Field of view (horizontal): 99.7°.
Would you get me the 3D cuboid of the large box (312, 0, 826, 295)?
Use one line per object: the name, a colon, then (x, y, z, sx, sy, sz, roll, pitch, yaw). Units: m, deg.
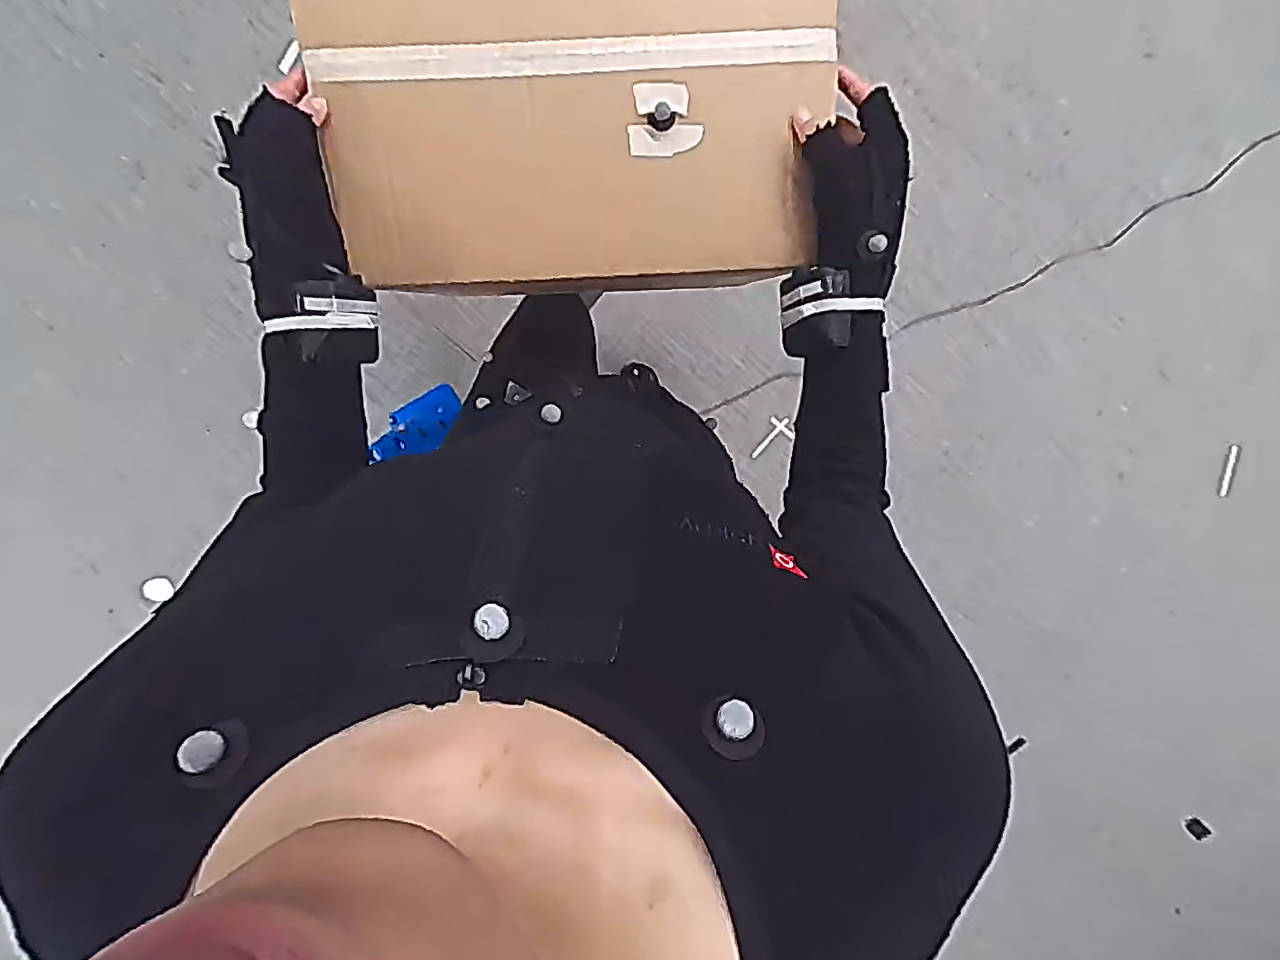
large box: (-0.057, -0.377, 0.569, 0.408, 0.320, 0.320, -3, 107, -1)

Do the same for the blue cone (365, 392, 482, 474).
blue cone: (-0.545, -0.092, 1.310, 0.192, 0.380, 0.193, -26, 101, 7)
